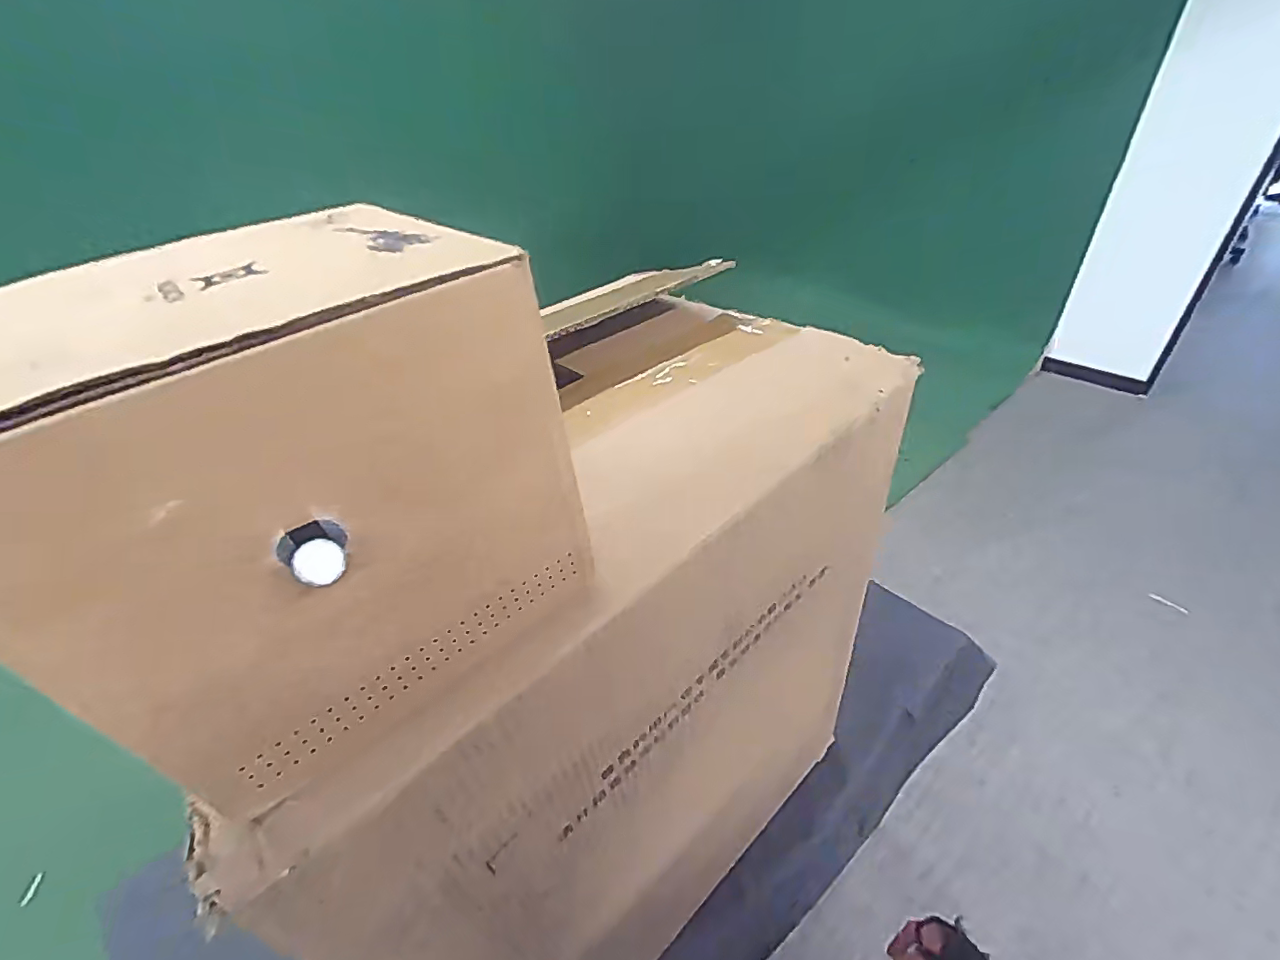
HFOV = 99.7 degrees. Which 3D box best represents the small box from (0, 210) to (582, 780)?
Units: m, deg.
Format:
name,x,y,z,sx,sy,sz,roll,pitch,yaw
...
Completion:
name,x,y,z,sx,sy,sz,roll,pitch,yaw
small box,-0.149,-0.006,0.253,0.179,0.176,0.168,-34,47,-28
